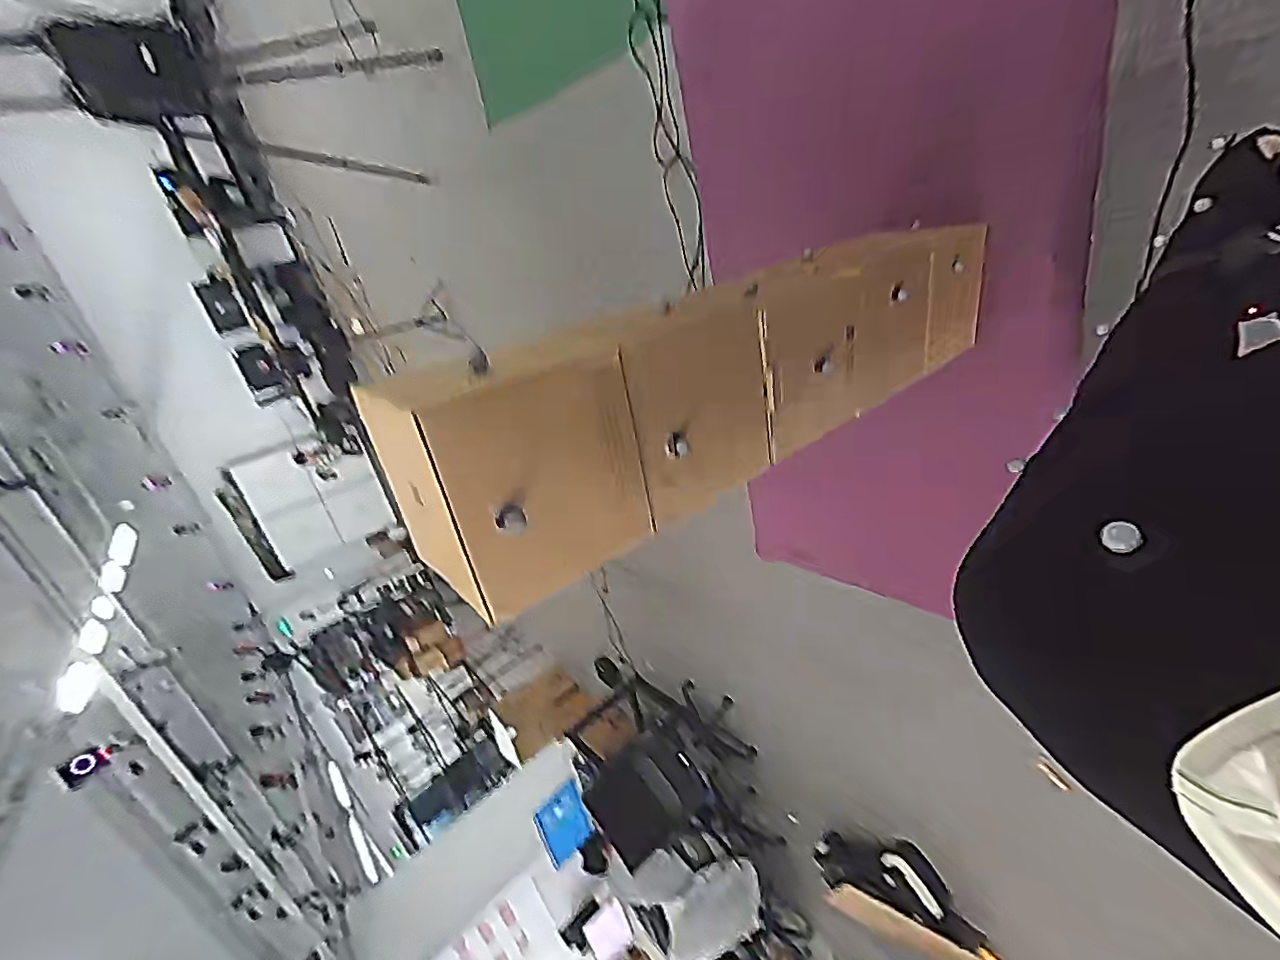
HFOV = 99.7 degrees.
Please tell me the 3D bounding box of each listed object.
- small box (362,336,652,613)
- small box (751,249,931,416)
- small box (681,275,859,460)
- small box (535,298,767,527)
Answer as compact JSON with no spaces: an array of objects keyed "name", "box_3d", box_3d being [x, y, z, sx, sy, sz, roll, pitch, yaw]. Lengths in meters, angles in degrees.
[{"name":"small box","box_3d":[-0.110,-0.023,0.479,0.168,0.176,0.179,19,129,49]},{"name":"small box","box_3d":[0.270,-0.206,0.728,0.168,0.176,0.179,21,130,47]},{"name":"small box","box_3d":[0.142,-0.144,0.648,0.179,0.176,0.168,21,129,47]},{"name":"small box","box_3d":[0.016,-0.081,0.564,0.168,0.176,0.179,19,127,49]}]
